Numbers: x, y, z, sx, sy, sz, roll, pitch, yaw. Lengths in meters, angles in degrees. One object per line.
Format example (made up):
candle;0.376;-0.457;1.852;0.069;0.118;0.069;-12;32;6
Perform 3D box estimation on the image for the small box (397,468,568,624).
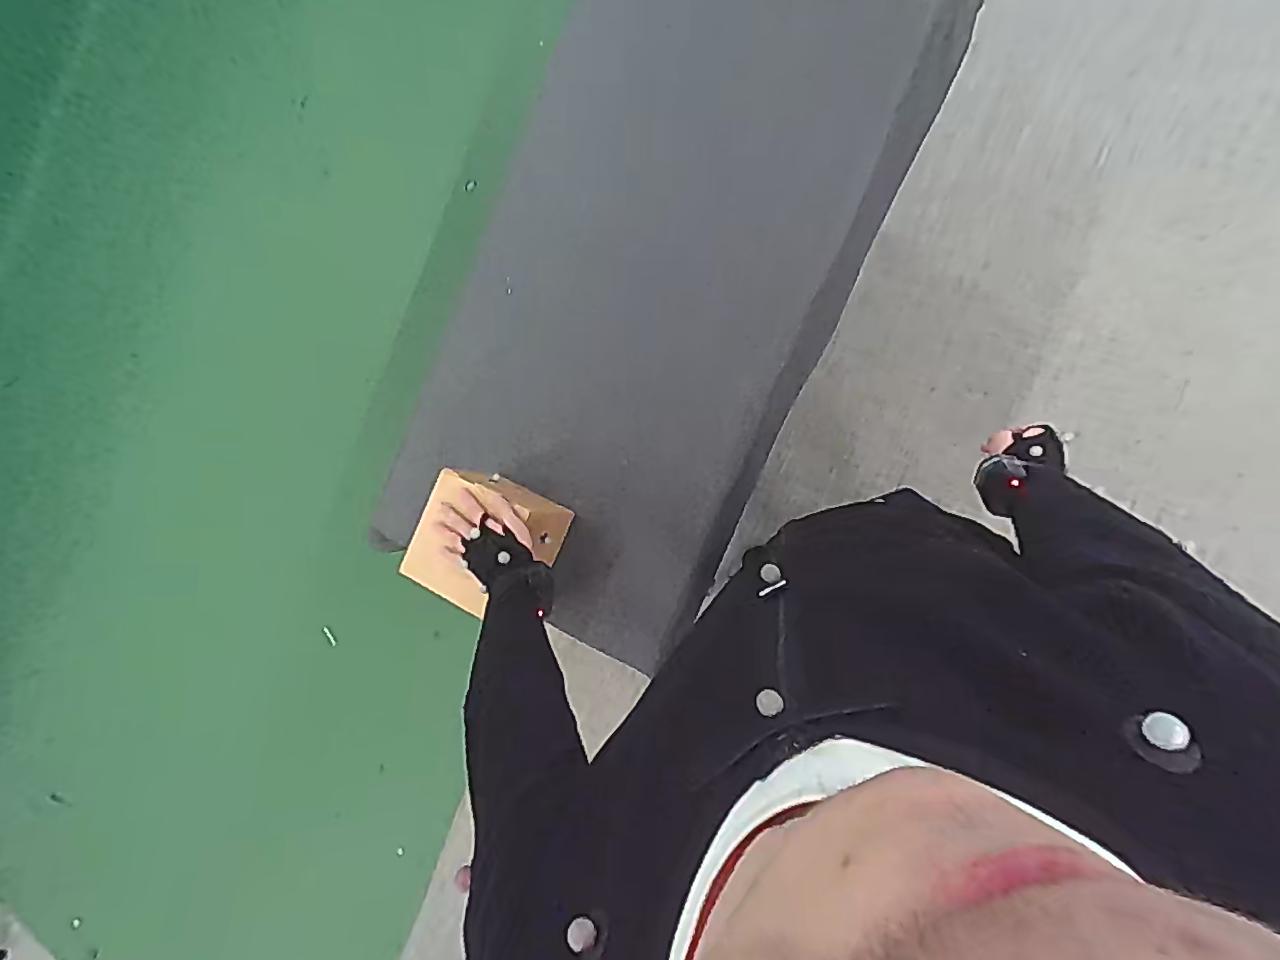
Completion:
small box;-0.237;0.101;0.860;0.168;0.176;0.179;26;92;18
